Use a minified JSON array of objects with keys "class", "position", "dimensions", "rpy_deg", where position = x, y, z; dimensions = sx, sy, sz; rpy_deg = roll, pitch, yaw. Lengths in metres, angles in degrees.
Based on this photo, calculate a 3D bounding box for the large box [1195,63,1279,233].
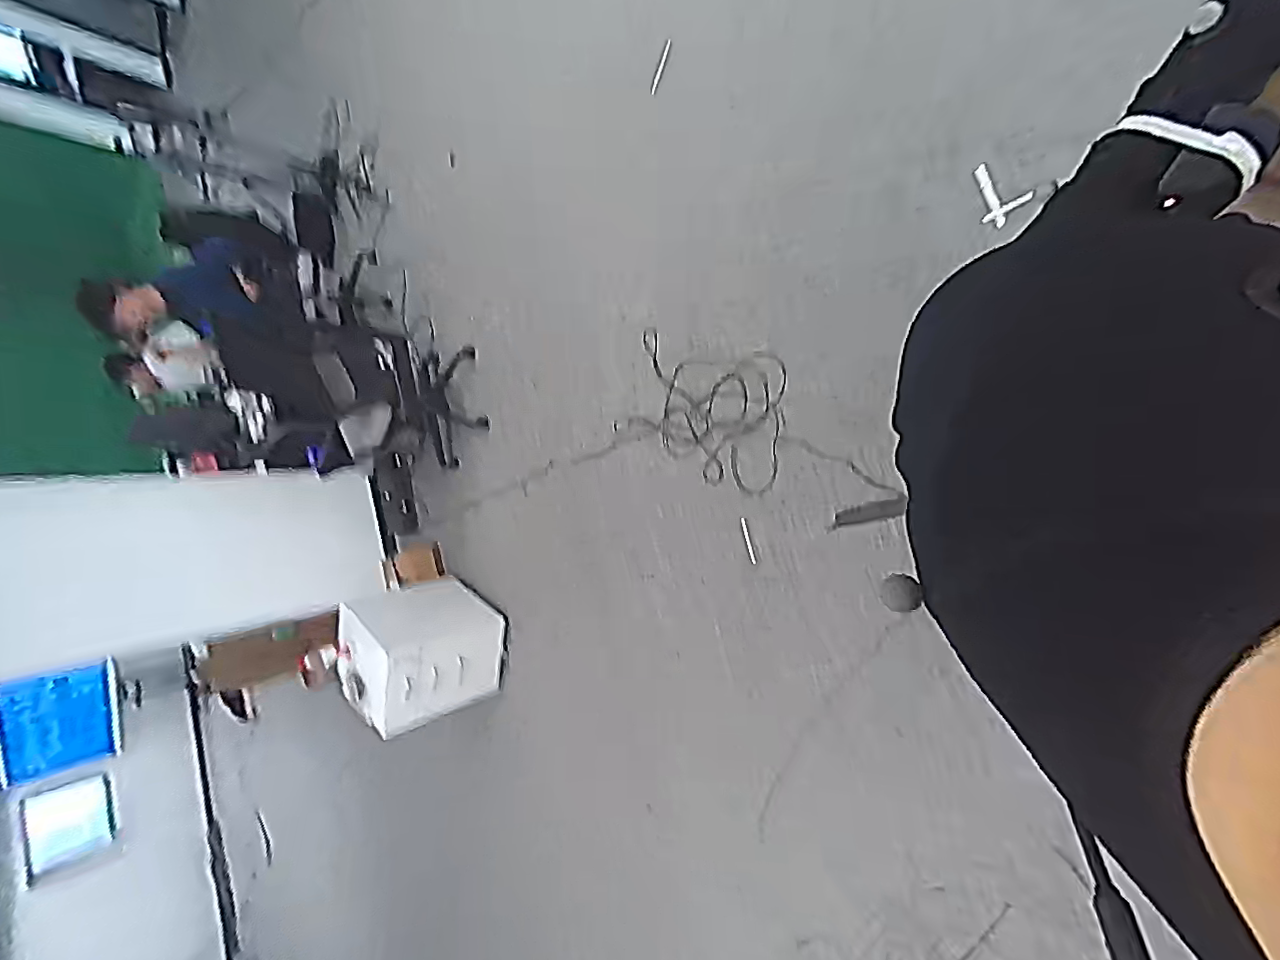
[{"class":"large box","position":[0.691,-0.262,0.328],"dimensions":[0.408,0.320,0.320],"rpy_deg":[45,133,23]}]
